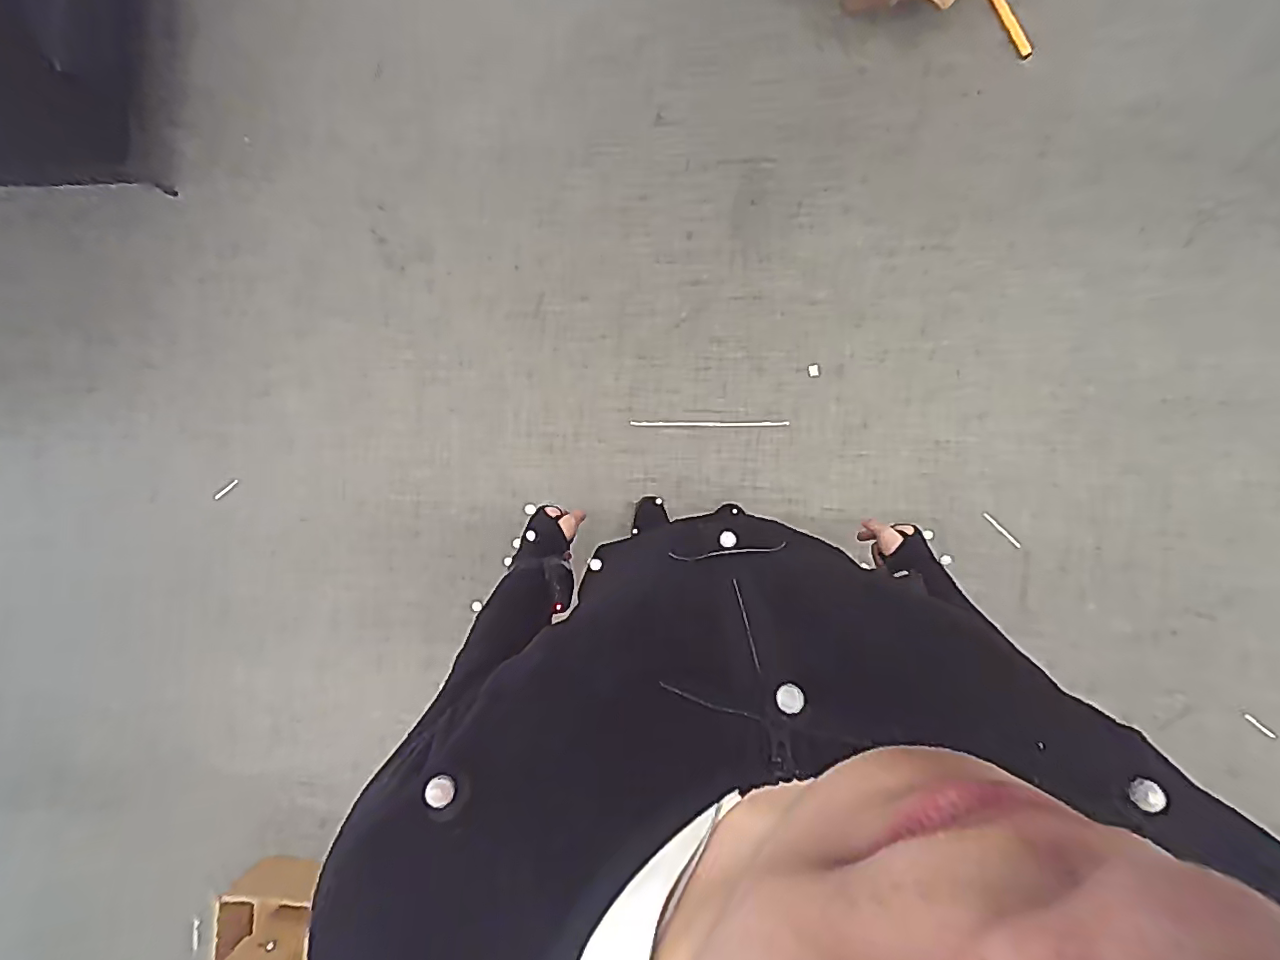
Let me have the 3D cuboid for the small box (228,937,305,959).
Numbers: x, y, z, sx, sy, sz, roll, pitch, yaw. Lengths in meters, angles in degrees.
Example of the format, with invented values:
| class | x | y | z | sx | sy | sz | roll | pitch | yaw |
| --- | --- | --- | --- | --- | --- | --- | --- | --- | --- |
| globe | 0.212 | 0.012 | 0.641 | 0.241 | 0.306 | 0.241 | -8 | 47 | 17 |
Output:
| class | x | y | z | sx | sy | sz | roll | pitch | yaw |
| --- | --- | --- | --- | --- | --- | --- | --- | --- | --- |
| small box | -0.988 | 1.326 | 1.380 | 0.168 | 0.176 | 0.179 | 0 | 88 | 2 |
